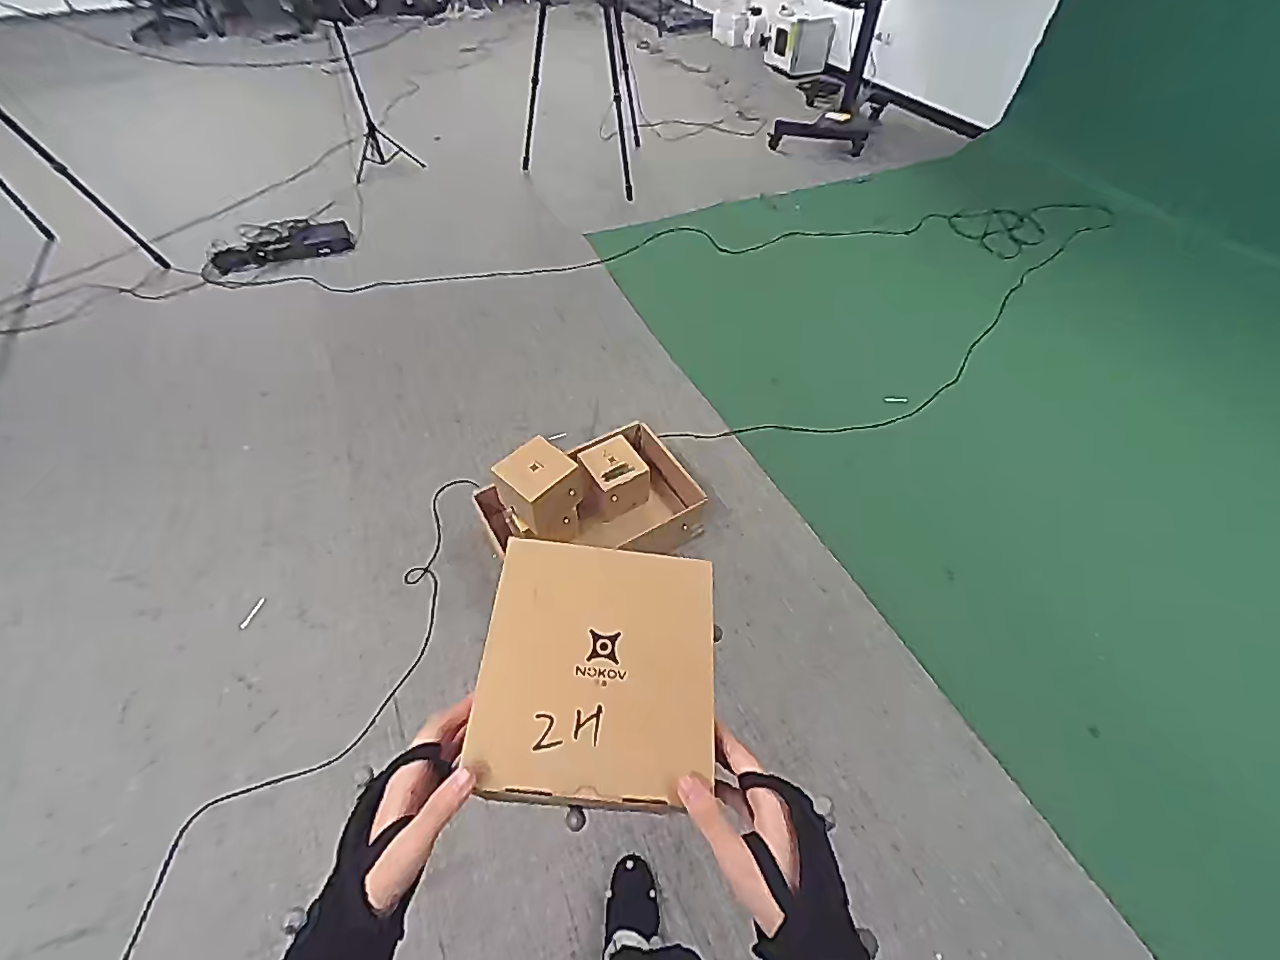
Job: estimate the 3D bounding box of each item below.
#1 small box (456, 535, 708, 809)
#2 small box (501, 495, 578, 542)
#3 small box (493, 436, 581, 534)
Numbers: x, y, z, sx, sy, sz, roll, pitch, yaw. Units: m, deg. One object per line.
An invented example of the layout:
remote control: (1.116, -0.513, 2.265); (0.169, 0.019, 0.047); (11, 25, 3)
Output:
small box: (-0.042, 0.169, 0.458); (0.168, 0.176, 0.179); (8, 58, -4)
small box: (-0.301, 0.107, 1.652); (0.179, 0.176, 0.168); (-24, 57, -20)
small box: (-0.283, 0.016, 1.517); (0.168, 0.176, 0.179); (37, 60, 24)
